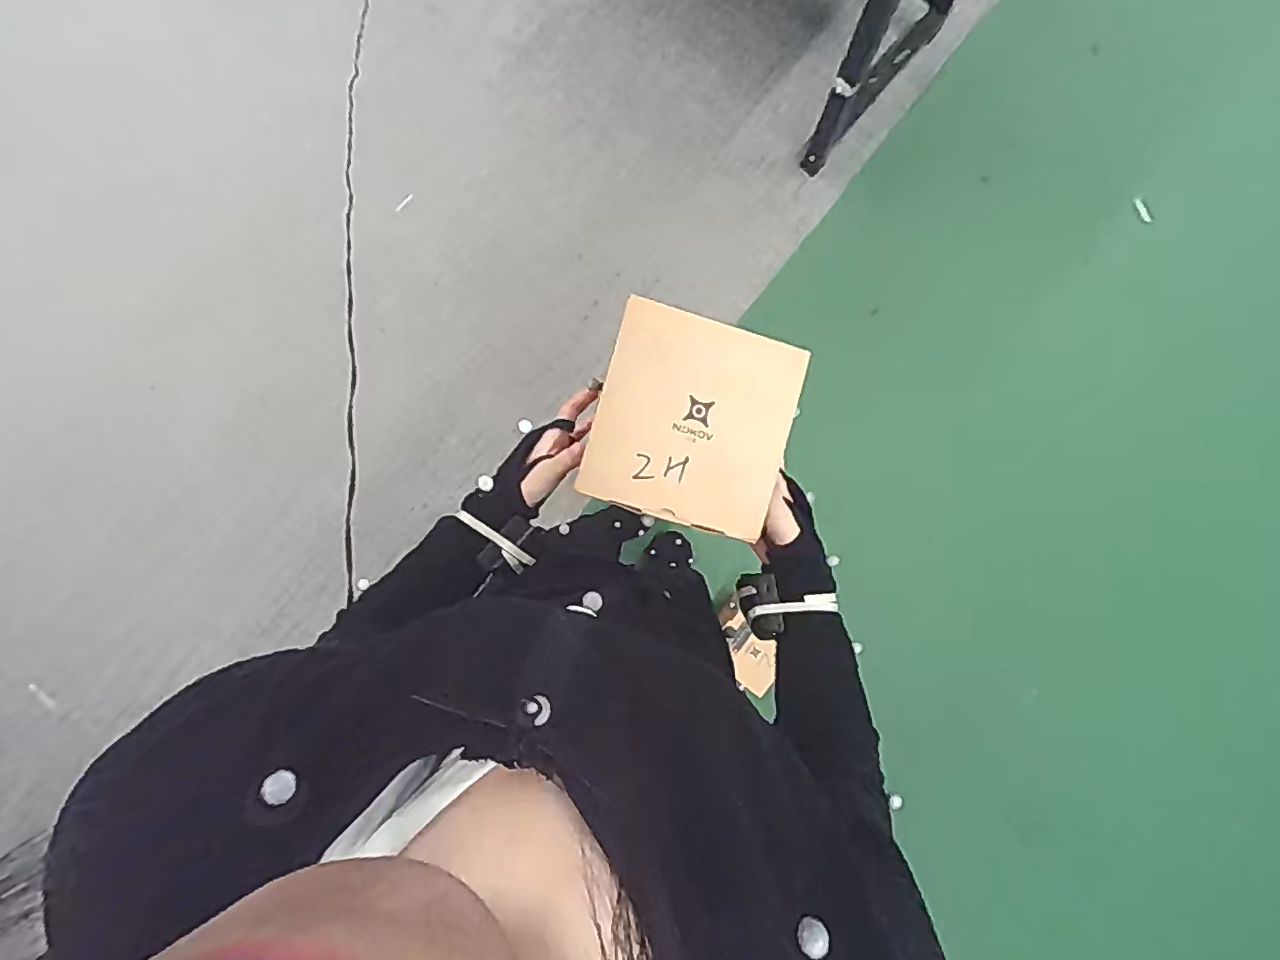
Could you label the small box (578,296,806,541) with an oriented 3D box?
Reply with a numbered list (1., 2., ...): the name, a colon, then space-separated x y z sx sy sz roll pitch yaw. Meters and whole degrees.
1. small box: 0.037 -0.051 0.542 0.168 0.176 0.179 16 88 -6
